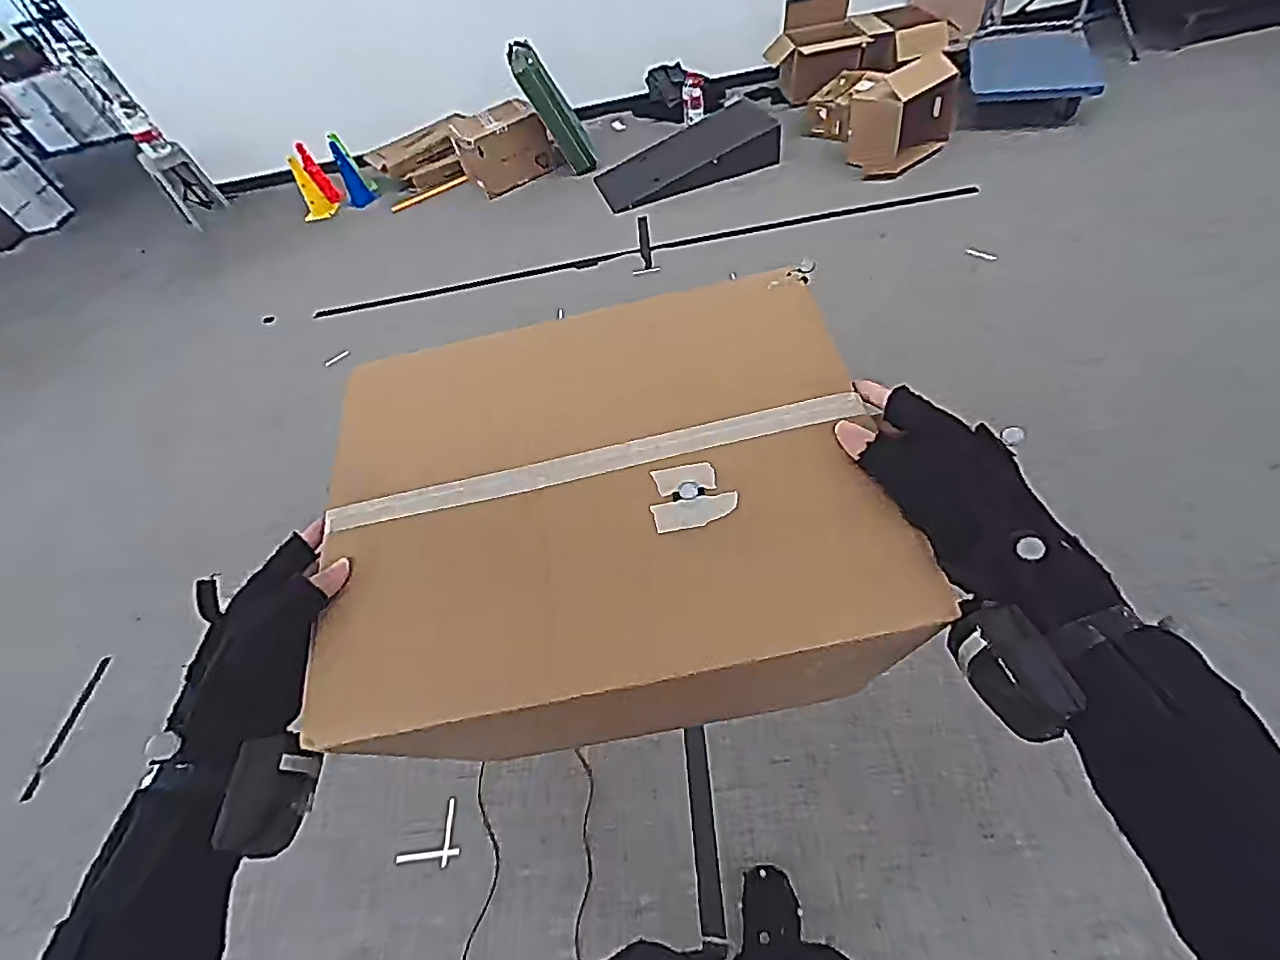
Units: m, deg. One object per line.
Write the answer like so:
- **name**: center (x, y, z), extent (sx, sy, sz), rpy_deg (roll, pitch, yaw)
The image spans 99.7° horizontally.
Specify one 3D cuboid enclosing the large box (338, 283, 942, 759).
- **large box**: center (-0.010, 0.066, 0.544), extent (0.408, 0.320, 0.320), rpy_deg (-12, 61, 2)
